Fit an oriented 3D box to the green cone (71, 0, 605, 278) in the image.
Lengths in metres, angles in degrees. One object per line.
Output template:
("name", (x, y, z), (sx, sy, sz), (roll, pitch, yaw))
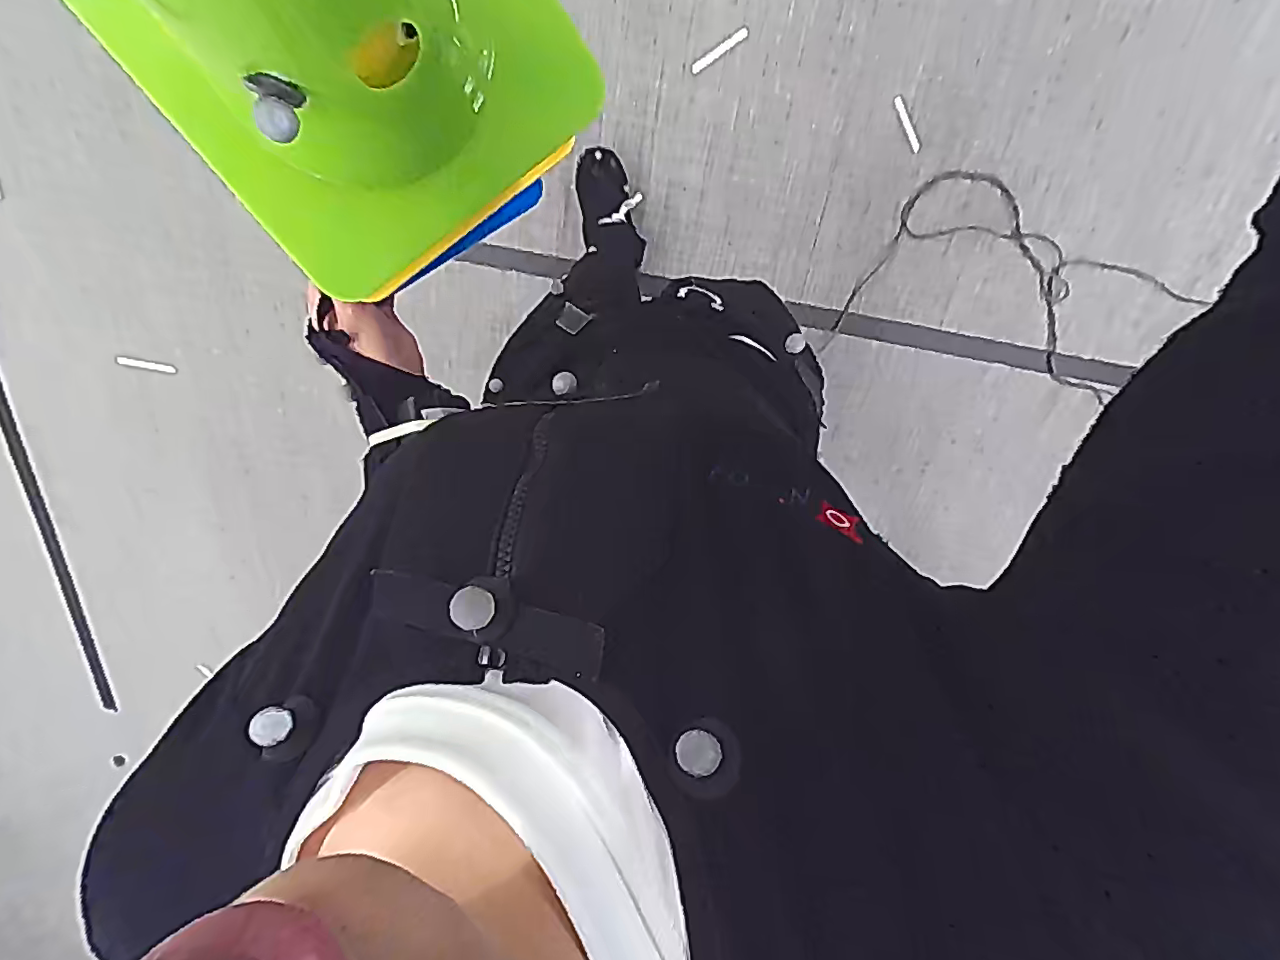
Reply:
("green cone", (-0.114, -0.194, 0.099), (0.200, 0.368, 0.202), (-39, 108, 1))
